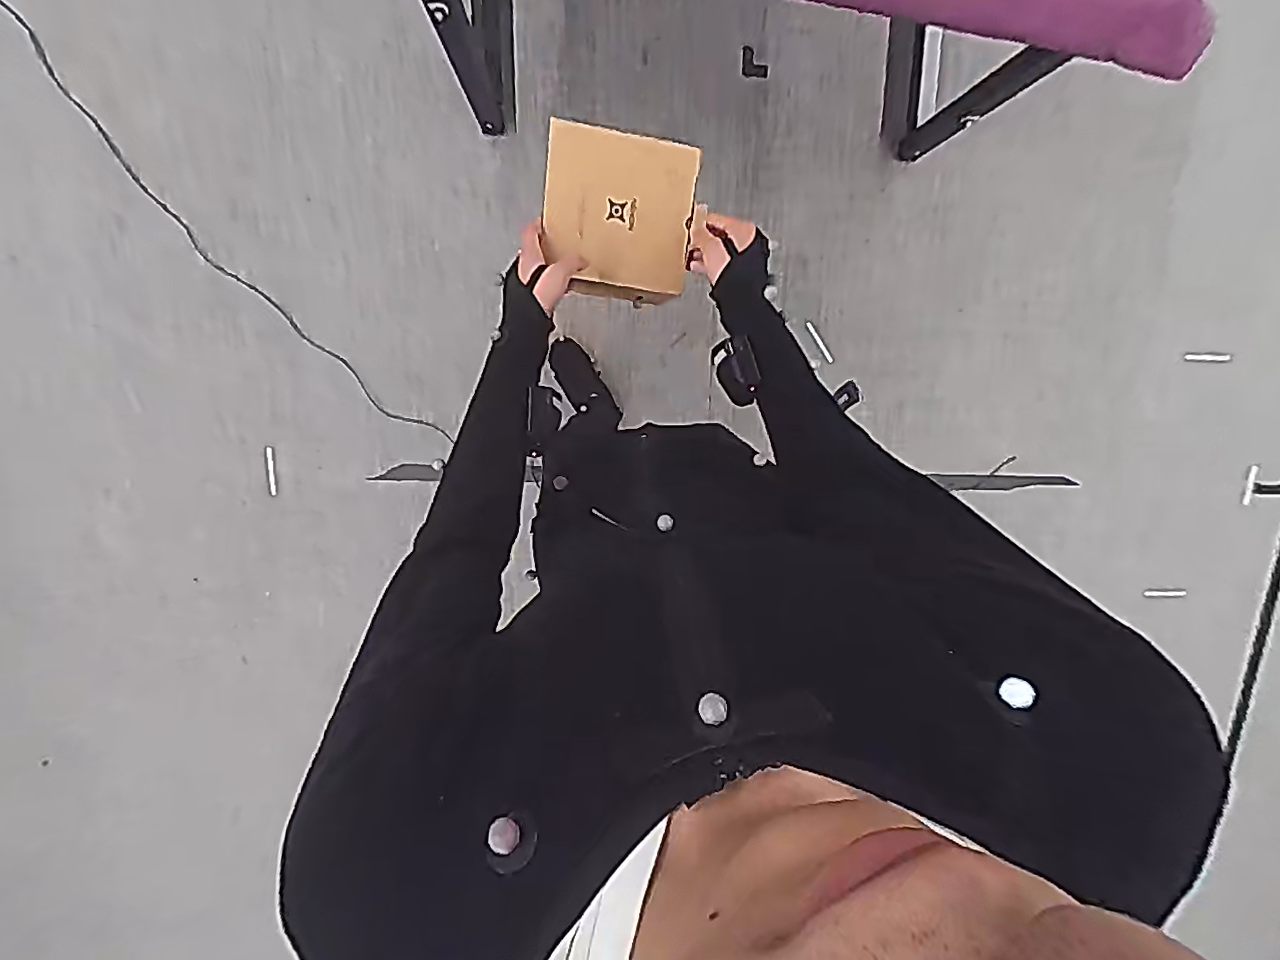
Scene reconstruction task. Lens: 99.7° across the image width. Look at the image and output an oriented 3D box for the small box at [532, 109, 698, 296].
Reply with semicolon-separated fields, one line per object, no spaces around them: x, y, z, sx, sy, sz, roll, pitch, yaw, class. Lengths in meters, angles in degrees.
-0.041;-0.338;0.696;0.179;0.176;0.168;5;103;-10;small box
